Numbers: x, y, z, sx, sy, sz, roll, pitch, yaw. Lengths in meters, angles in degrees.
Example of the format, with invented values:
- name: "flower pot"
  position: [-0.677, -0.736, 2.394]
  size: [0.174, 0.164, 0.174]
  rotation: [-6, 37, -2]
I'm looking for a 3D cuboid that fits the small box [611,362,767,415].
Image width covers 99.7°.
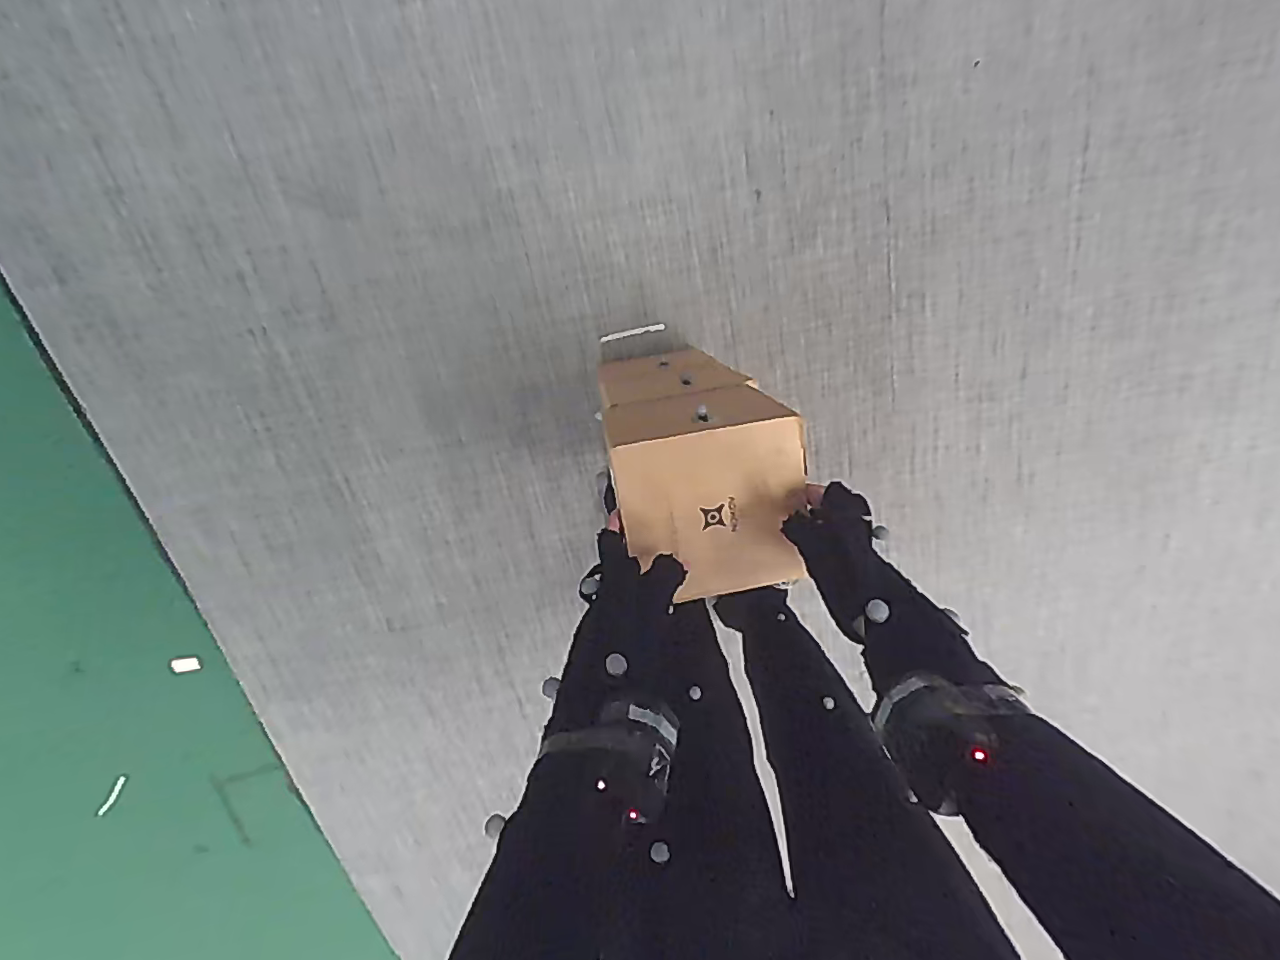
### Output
- name: "small box"
  position: [0.063, -0.056, 0.728]
  size: [0.179, 0.176, 0.168]
  rotation: [-10, 111, -3]

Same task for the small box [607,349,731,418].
- name: "small box"
  position: [0.045, -0.115, 0.877]
  size: [0.179, 0.176, 0.168]
  rotation: [-8, 109, -3]

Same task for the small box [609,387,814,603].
- name: "small box"
  position: [0.067, 0.004, 0.577]
  size: [0.179, 0.176, 0.168]
  rotation: [-10, 110, -1]
